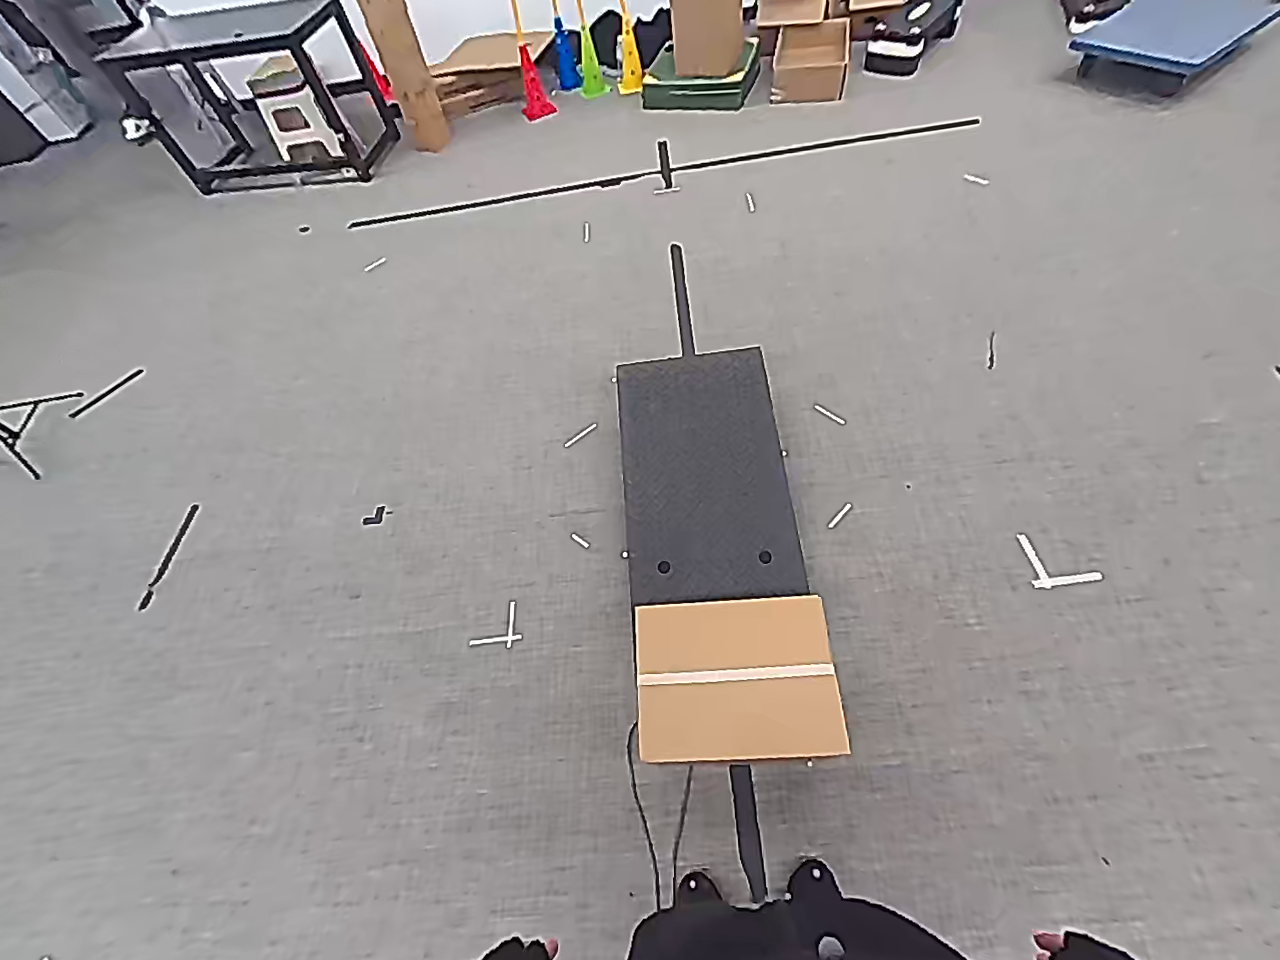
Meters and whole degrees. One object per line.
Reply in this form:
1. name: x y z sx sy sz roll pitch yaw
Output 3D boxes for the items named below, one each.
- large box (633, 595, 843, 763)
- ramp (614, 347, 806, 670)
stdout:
1. large box: 0.206 0.472 1.250 0.408 0.320 0.320 -5 60 5
2. ramp: 0.189 0.037 1.624 0.509 0.206 0.991 -7 56 2
